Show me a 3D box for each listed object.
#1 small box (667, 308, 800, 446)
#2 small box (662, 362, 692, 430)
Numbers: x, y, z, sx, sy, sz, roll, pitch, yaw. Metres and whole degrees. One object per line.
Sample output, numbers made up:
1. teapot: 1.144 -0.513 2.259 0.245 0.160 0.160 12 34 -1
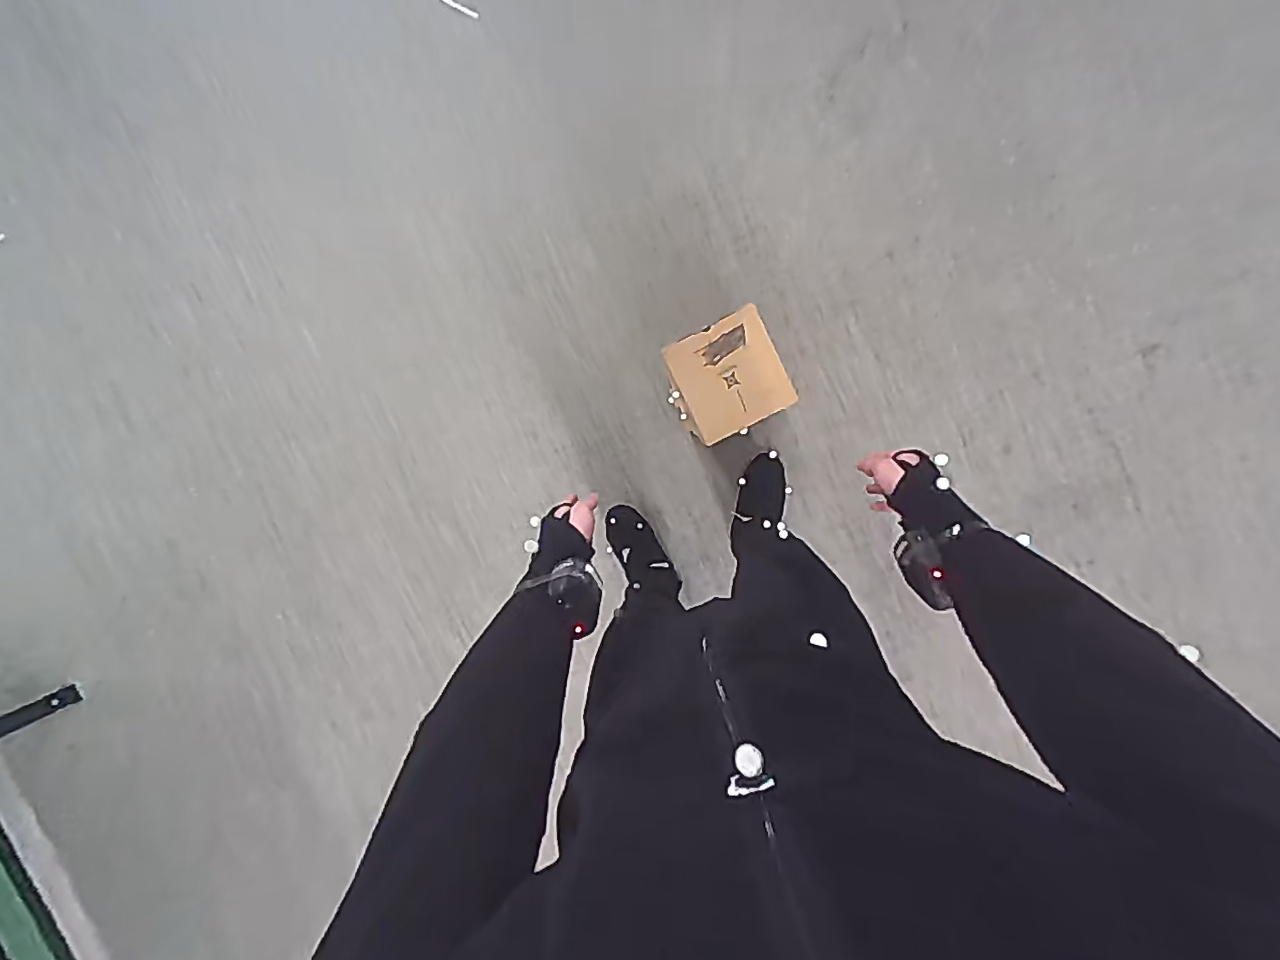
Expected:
1. small box: 0.152 -0.169 0.936 0.168 0.176 0.179 -22 95 6
2. small box: 0.164 -0.221 1.281 0.179 0.176 0.168 -22 93 5
